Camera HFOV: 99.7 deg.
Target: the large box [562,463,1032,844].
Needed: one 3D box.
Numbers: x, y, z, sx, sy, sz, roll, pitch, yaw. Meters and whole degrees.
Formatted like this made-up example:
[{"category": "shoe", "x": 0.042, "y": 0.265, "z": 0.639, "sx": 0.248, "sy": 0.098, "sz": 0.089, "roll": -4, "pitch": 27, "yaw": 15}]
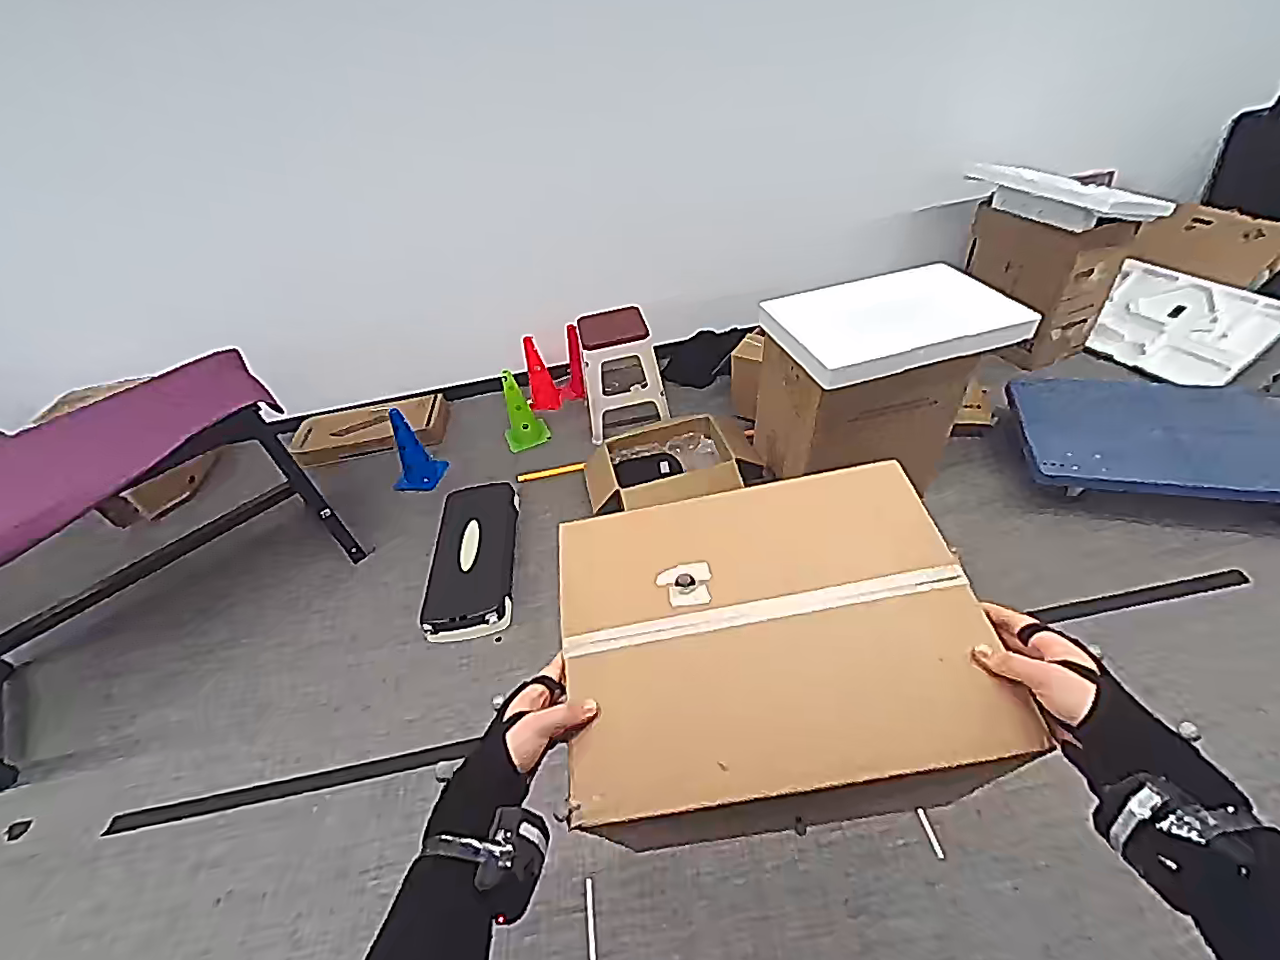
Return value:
[{"category": "large box", "x": 0.146, "y": 0.228, "z": 0.669, "sx": 0.408, "sy": 0.320, "sz": 0.320, "roll": -12, "pitch": 50, "yaw": 4}]
